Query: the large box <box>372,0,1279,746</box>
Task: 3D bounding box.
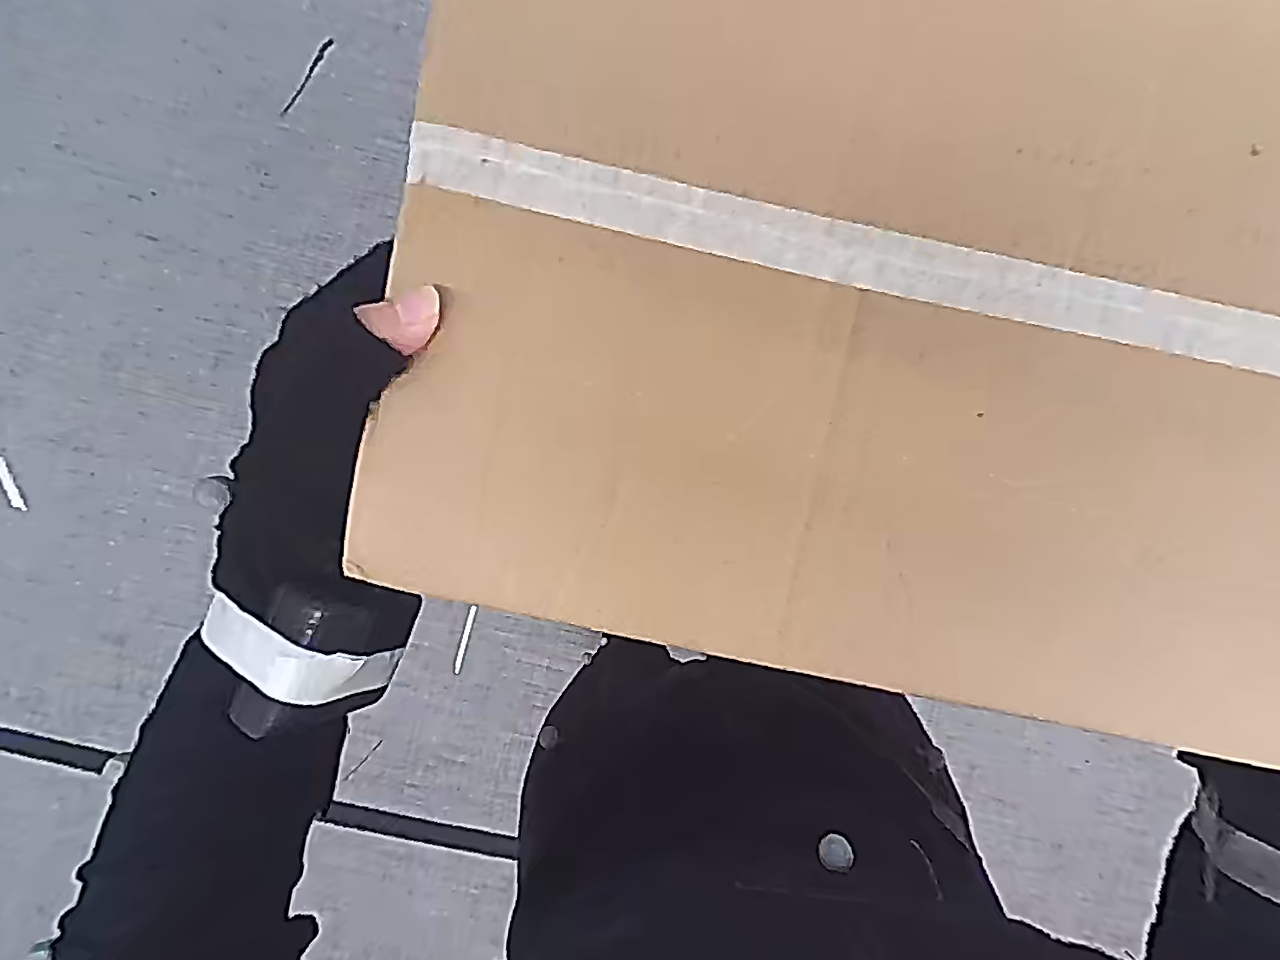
[{"bbox_3d":[0.113,-0.085,0.358,0.408,0.320,0.320,12,94,-2],"label":"large box"}]
